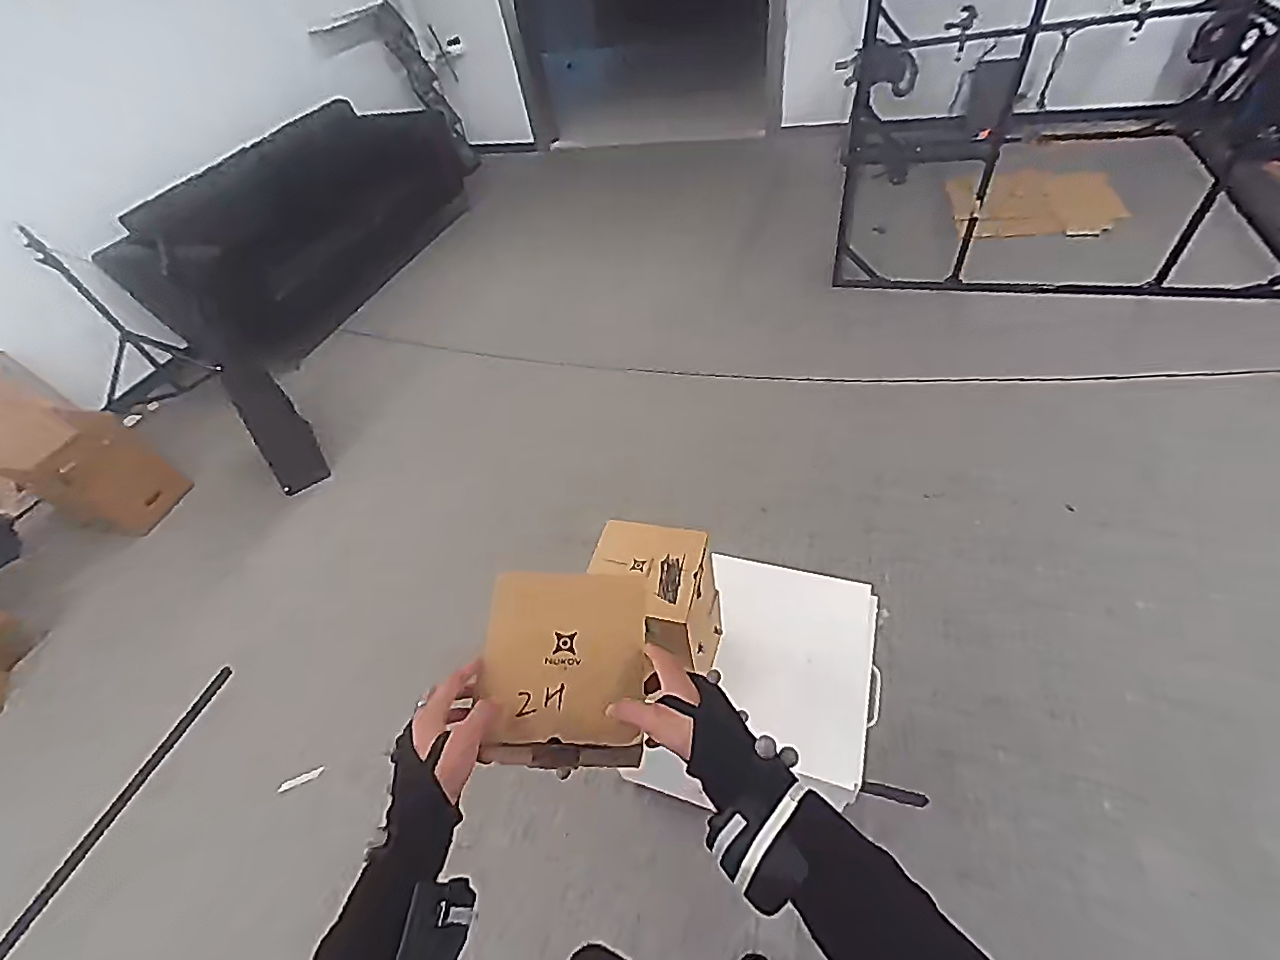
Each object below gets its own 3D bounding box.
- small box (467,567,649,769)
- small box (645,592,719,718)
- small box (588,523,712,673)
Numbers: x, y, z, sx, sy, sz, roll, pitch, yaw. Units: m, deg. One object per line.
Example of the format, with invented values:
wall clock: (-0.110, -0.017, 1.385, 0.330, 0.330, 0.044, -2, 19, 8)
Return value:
small box: (-0.078, 0.215, 0.608, 0.168, 0.176, 0.179, 2, 57, 0)
small box: (0.046, 0.306, 1.001, 0.168, 0.176, 0.179, 10, 50, 20)
small box: (0.017, 0.194, 0.883, 0.179, 0.176, 0.168, 6, 48, 18)
